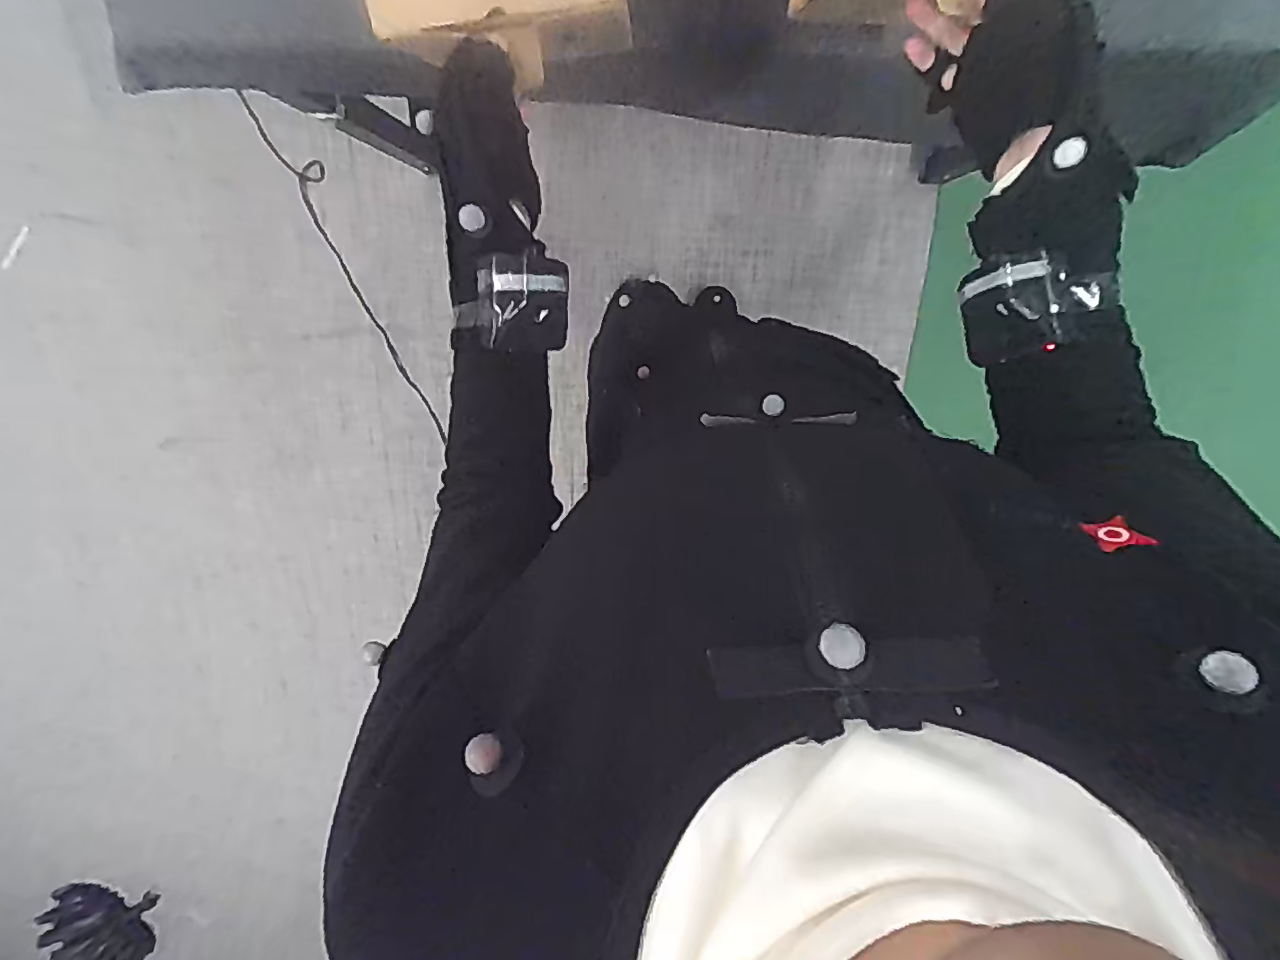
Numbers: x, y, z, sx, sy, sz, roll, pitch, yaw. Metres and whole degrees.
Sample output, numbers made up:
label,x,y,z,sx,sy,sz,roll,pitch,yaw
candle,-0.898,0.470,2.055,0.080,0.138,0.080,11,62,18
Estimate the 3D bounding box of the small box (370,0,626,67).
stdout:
label,x,y,z,sx,sy,sz,roll,pitch,yaw
small box,-0.103,-0.418,0.386,0.168,0.176,0.179,-6,120,4
